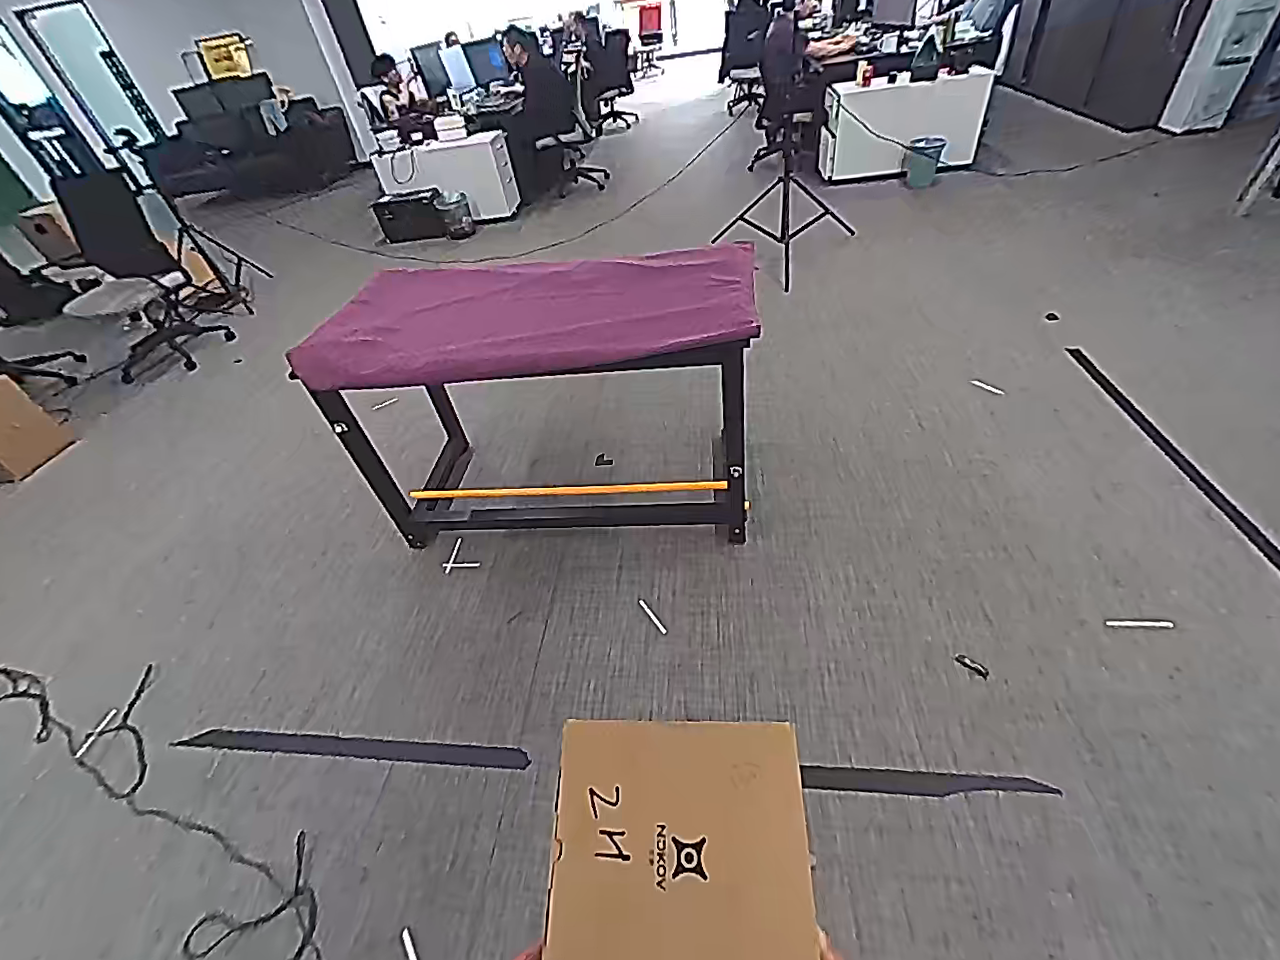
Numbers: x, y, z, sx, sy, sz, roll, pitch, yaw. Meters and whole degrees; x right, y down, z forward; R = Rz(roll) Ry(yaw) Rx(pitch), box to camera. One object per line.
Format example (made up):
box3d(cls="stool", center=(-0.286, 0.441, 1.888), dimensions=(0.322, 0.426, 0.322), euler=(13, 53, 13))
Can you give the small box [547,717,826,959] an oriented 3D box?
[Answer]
box3d(cls="small box", center=(0.040, 0.291, 0.432), dimensions=(0.179, 0.176, 0.168), euler=(-3, 58, 8))
